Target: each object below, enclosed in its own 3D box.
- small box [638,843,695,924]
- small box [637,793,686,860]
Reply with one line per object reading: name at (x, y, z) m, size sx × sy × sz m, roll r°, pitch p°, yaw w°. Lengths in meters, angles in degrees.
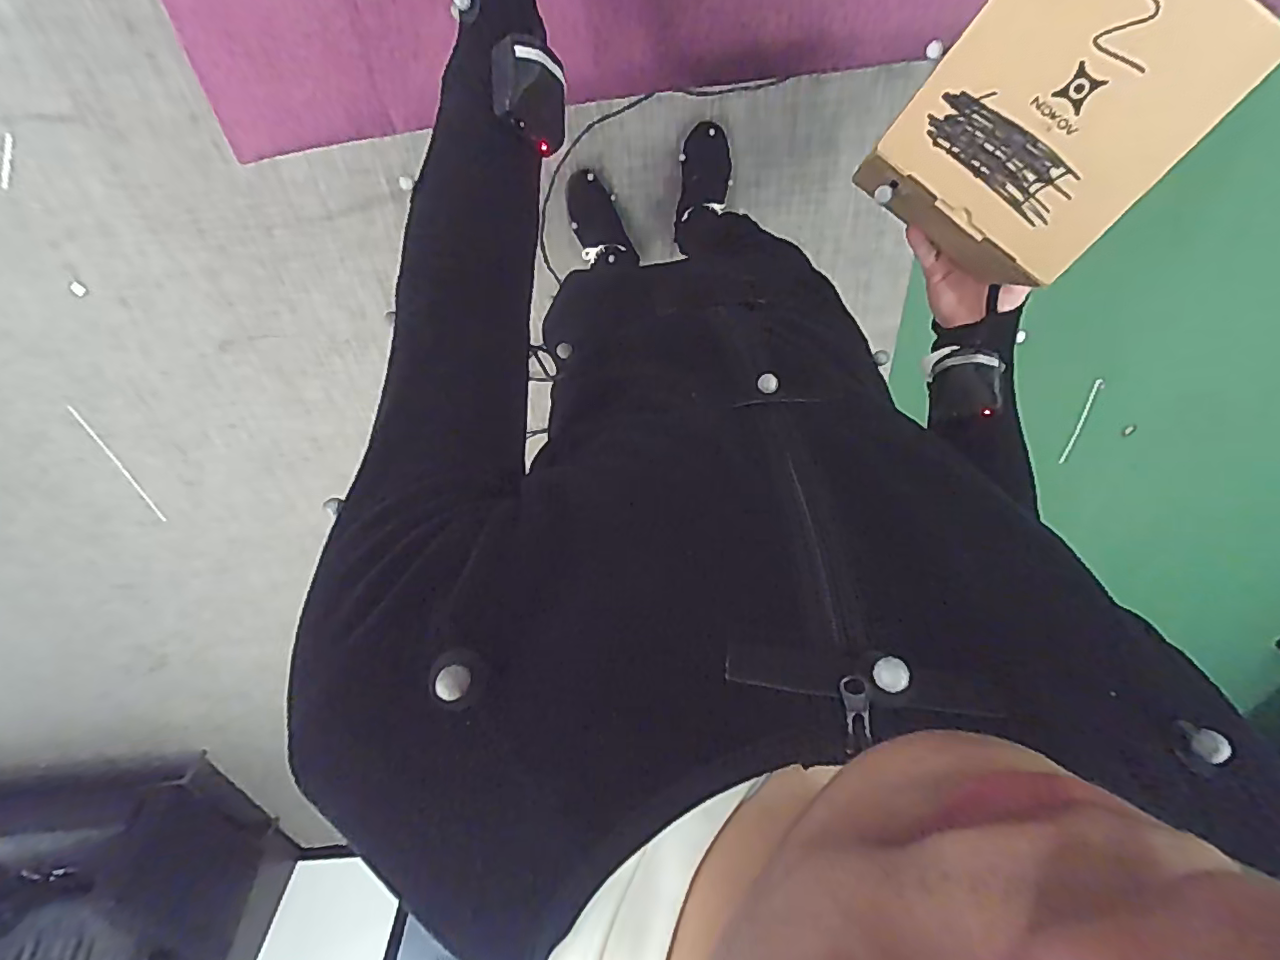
small box at (0.085, 1.346, 1.804) m, size 0.168 × 0.176 × 0.179 m, roll 5°, pitch 123°, yaw -4°
small box at (0.077, 1.249, 1.938) m, size 0.168 × 0.176 × 0.179 m, roll -3°, pitch 124°, yaw 2°
